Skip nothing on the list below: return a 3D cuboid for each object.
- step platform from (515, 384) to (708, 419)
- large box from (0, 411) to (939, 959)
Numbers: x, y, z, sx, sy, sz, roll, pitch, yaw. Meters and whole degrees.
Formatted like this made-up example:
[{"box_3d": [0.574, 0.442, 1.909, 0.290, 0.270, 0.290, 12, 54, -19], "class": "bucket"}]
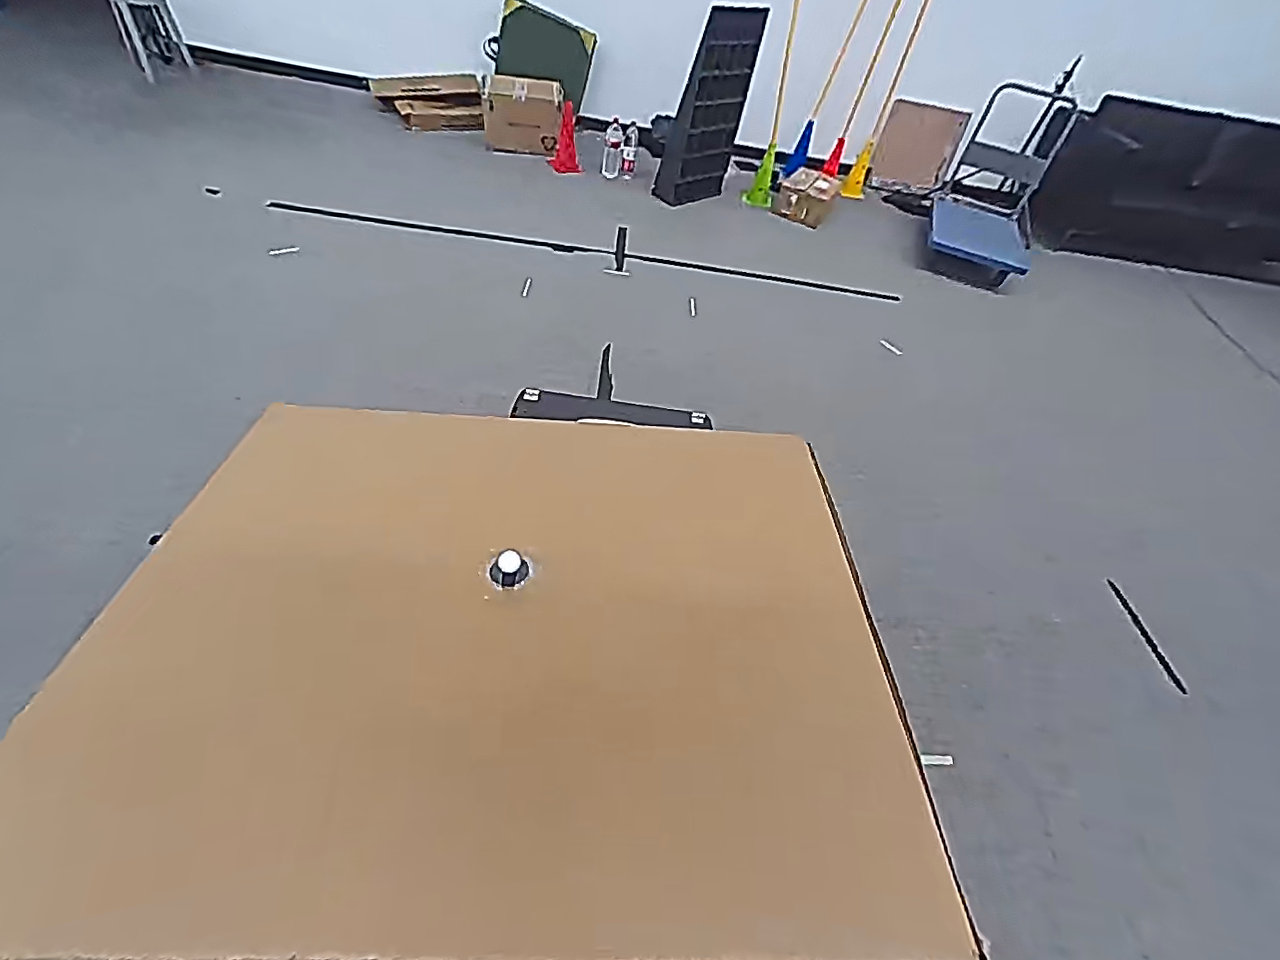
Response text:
[{"box_3d": [-0.082, -0.113, 1.807, 0.684, 0.204, 0.286, 12, 49, -2], "class": "step platform"}, {"box_3d": [-0.093, 0.162, 0.406, 0.408, 0.320, 0.320, 1, 46, -3], "class": "large box"}]
